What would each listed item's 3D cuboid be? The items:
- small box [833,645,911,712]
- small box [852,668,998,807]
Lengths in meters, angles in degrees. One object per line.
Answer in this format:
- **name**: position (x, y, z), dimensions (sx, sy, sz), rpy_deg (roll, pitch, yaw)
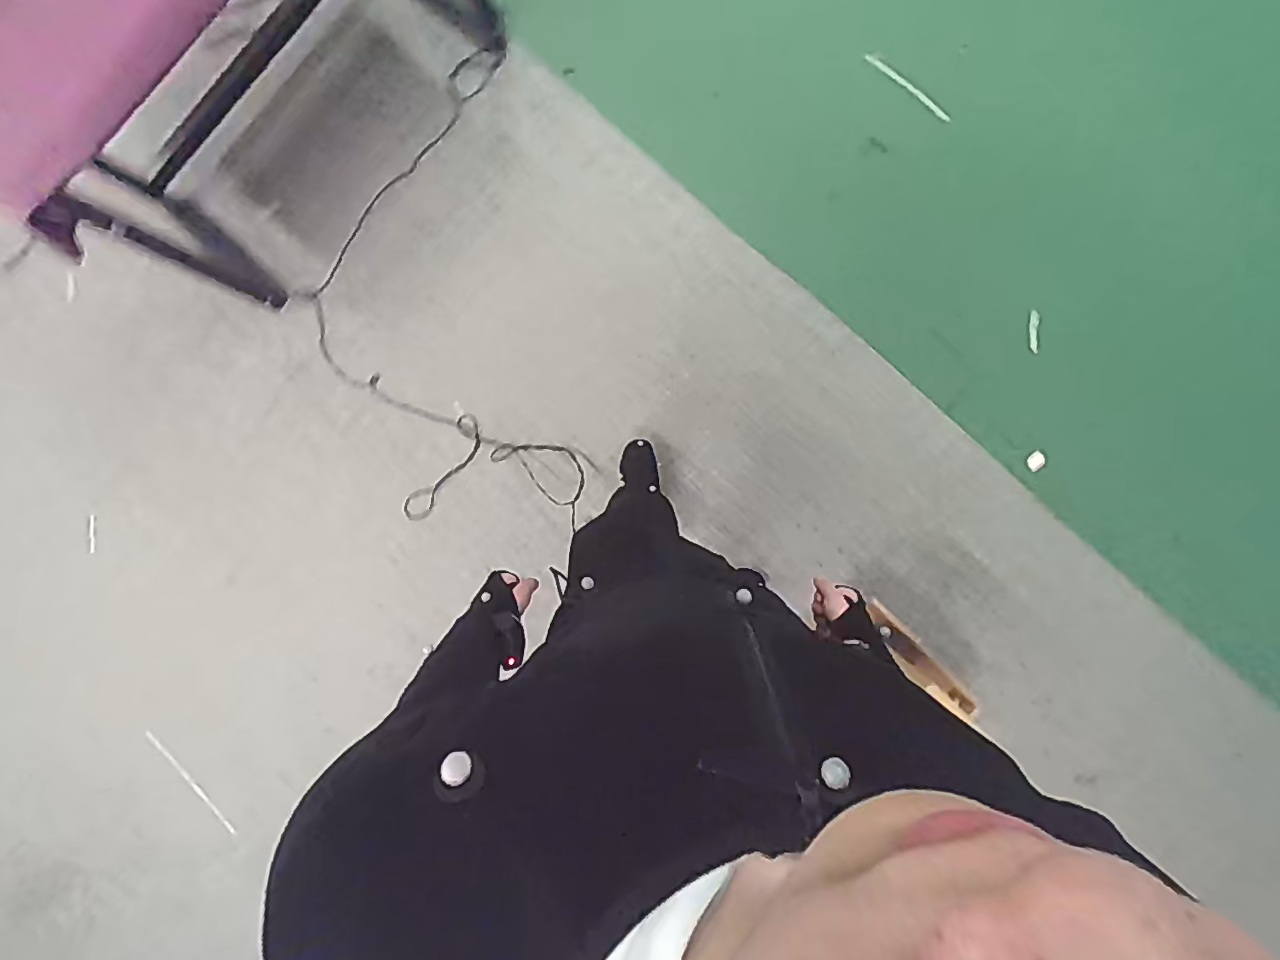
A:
- **small box**: position (0.591, 0.521, 1.277), dimensions (0.168, 0.176, 0.179), rpy_deg (-42, 84, 3)
- **small box**: position (0.571, 0.513, 1.115), dimensions (0.168, 0.176, 0.179), rpy_deg (-44, 85, 3)
